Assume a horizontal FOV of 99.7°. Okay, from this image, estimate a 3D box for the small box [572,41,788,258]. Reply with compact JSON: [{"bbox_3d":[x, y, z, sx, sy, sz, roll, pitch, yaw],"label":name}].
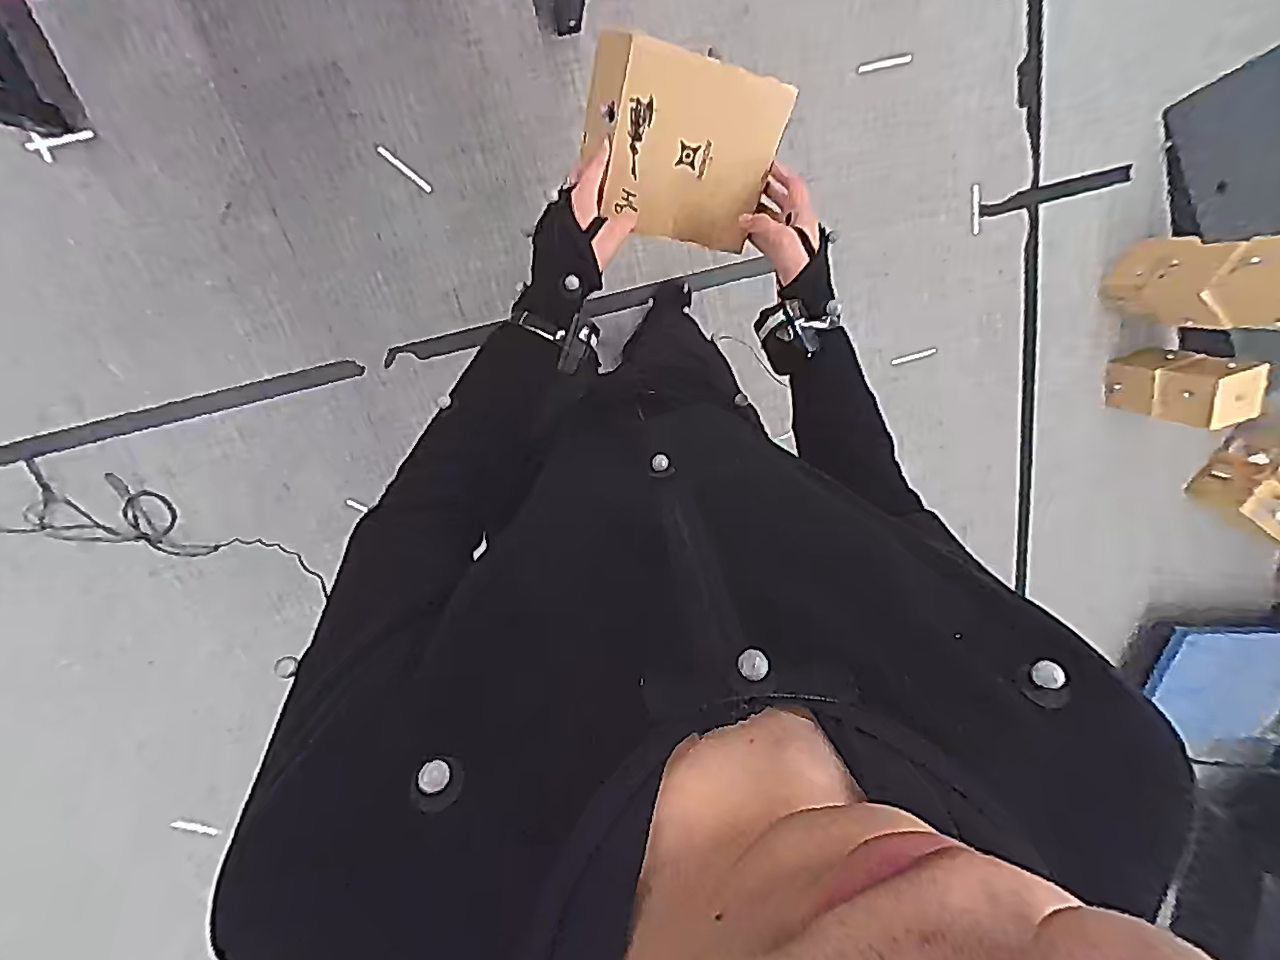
[{"bbox_3d":[0.031,-0.380,0.622,0.179,0.176,0.168,3,129,-20],"label":"small box"}]
